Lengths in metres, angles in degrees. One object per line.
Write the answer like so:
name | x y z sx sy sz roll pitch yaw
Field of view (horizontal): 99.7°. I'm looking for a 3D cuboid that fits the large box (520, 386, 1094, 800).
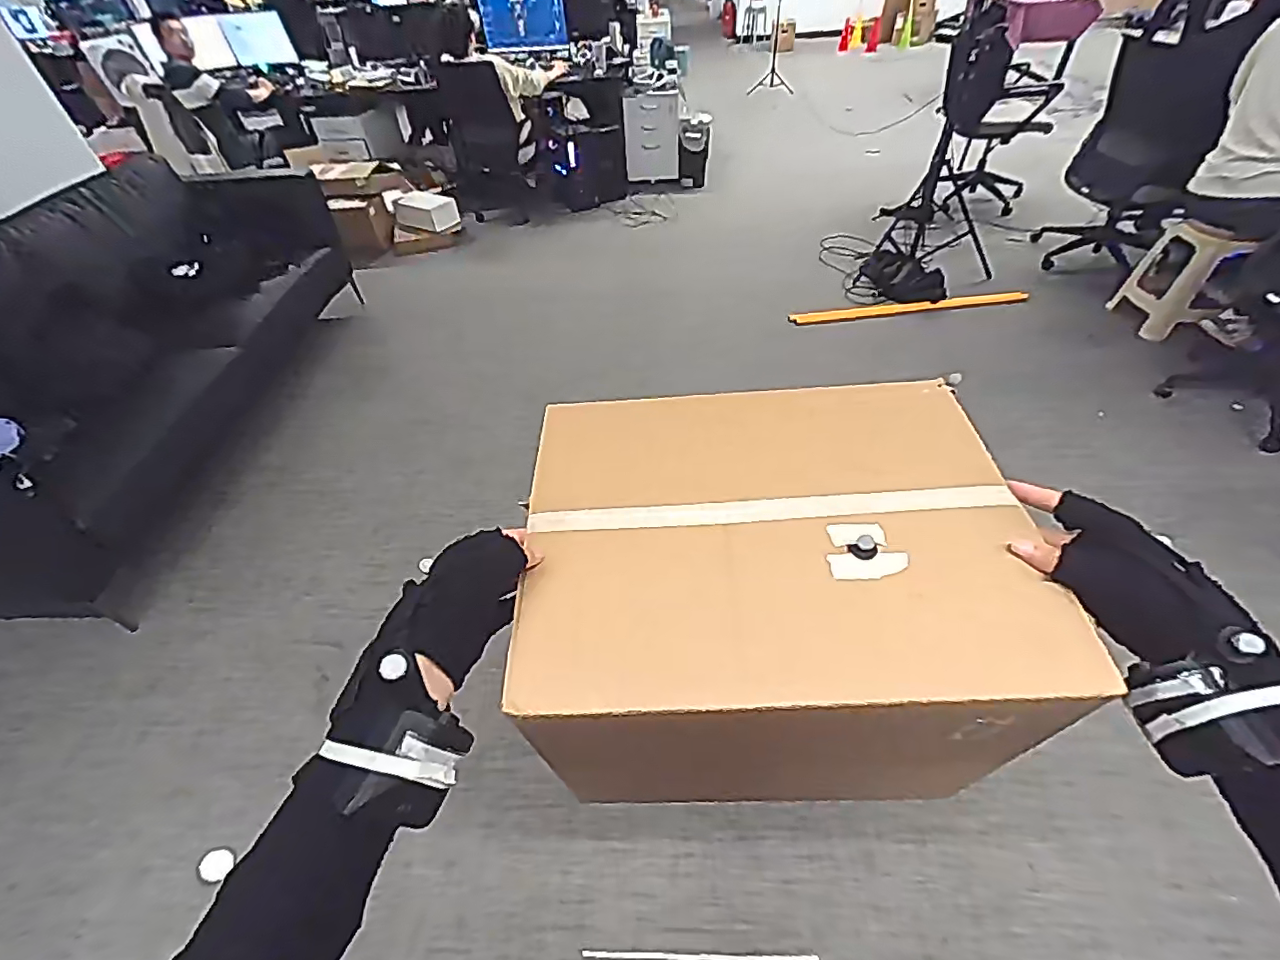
large box | 0.118 0.130 0.579 0.408 0.320 0.320 -4 50 3
